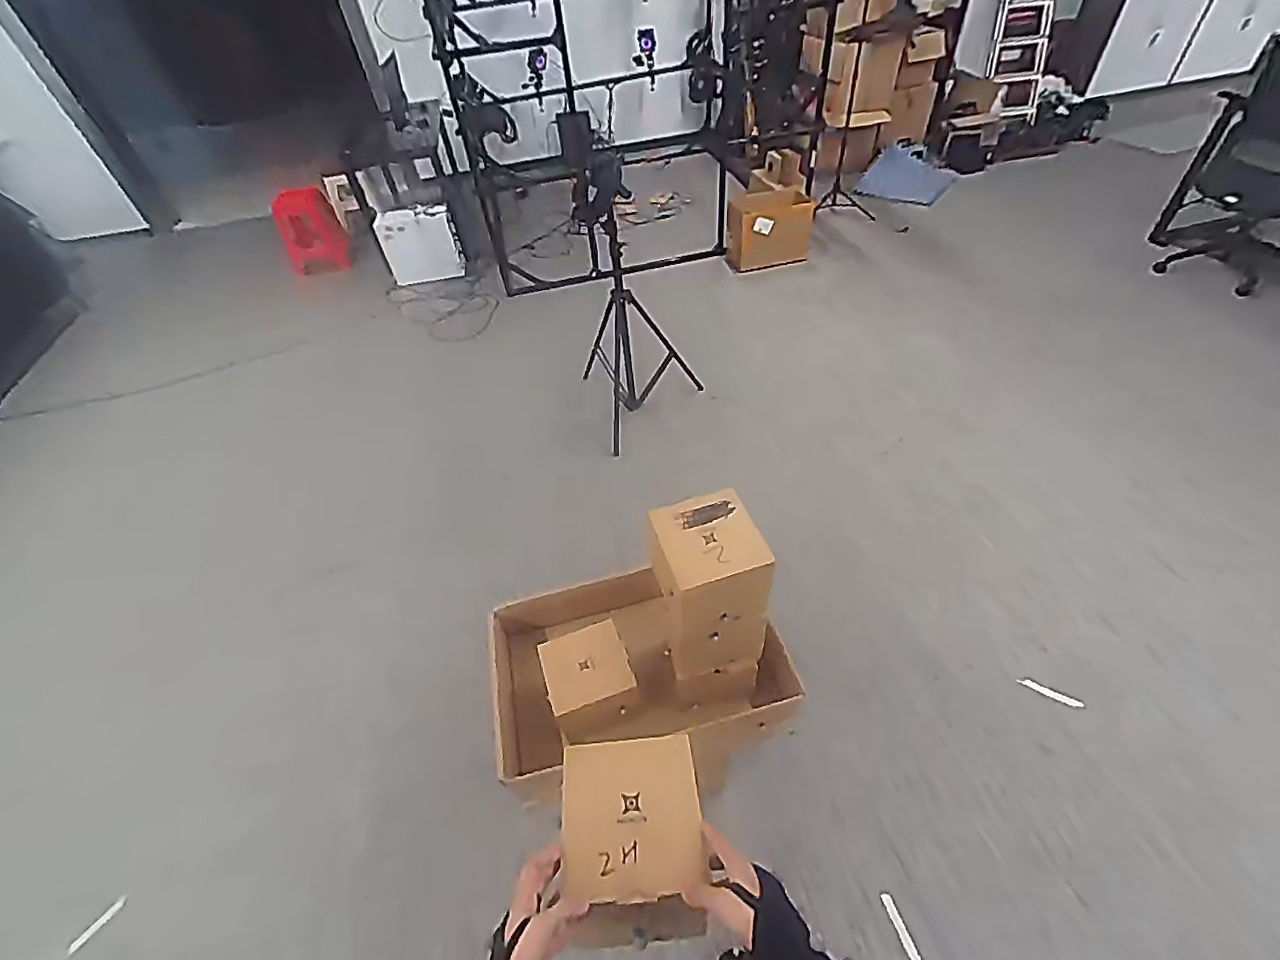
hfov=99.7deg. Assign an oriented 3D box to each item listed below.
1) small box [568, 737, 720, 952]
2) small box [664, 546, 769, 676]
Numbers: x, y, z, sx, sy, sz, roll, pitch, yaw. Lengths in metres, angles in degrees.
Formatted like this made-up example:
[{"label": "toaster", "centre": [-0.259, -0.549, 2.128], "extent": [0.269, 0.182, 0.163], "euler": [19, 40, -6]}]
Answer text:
[{"label": "small box", "centre": [0.000, 0.458, 0.686], "extent": [0.168, 0.176, 0.179], "euler": [-5, 38, -3]}, {"label": "small box", "centre": [0.147, 0.262, 1.085], "extent": [0.168, 0.176, 0.179], "euler": [-12, 46, -3]}]
